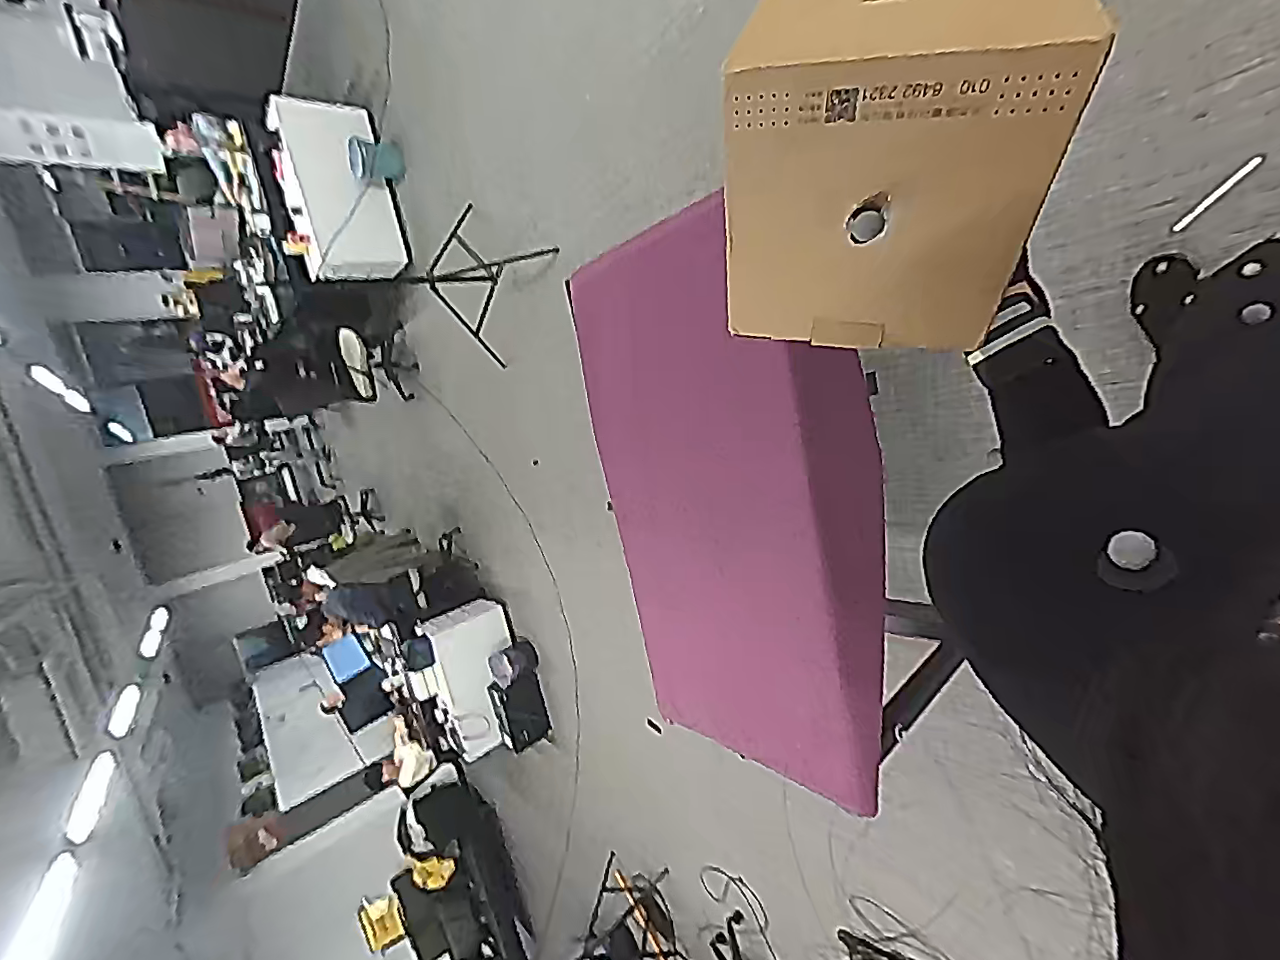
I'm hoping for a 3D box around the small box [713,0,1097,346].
[{"bbox_3d":[0.146,-0.210,0.342,0.168,0.179,0.176,10,145,18],"label":"small box"}]
